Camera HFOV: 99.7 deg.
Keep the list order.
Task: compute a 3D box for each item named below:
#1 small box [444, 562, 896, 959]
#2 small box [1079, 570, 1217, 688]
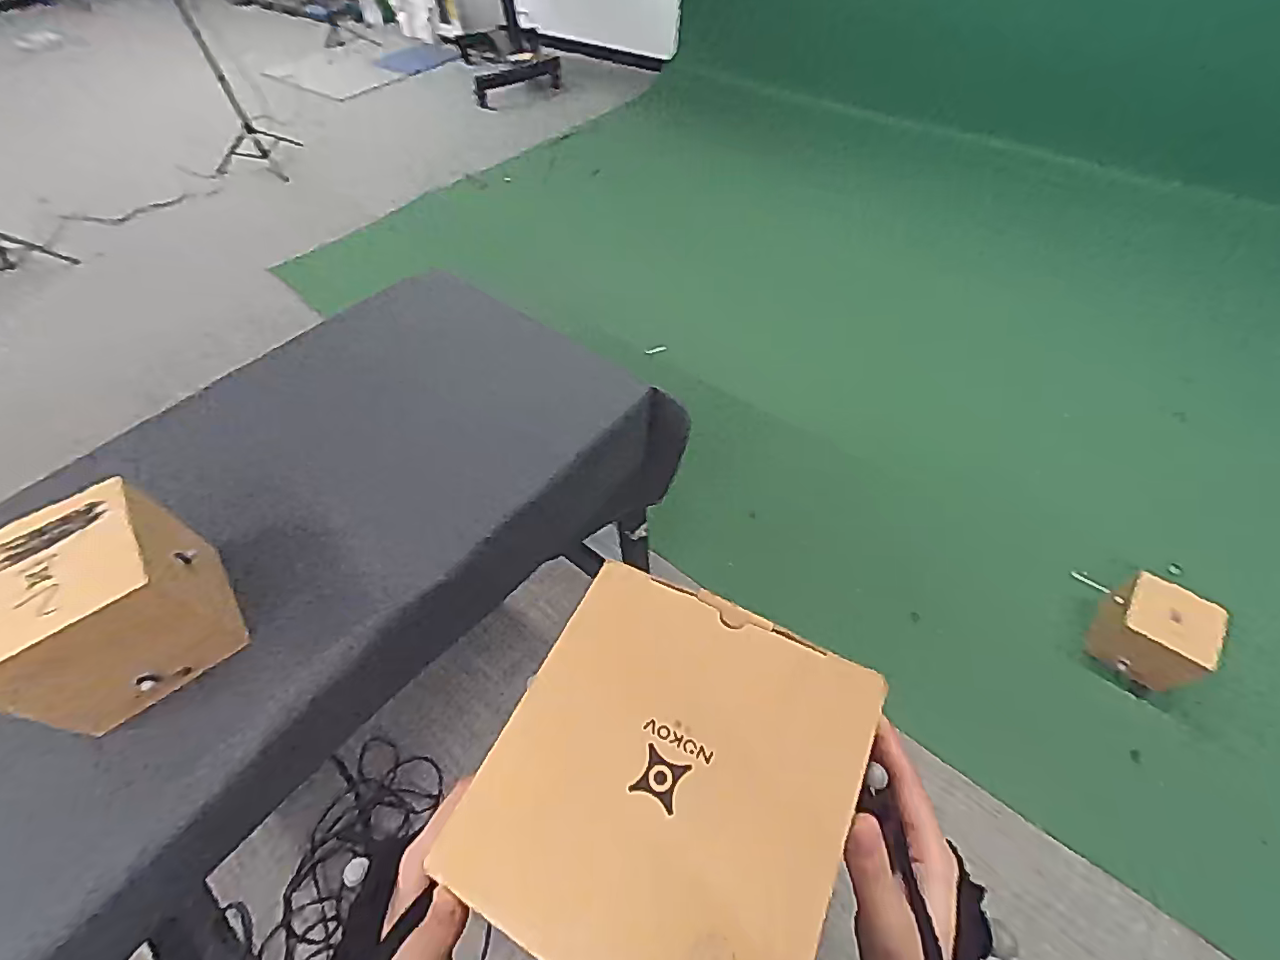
[{"bbox_3d":[0.029,0.185,0.322,0.168,0.176,0.179,20,59,21],"label":"small box"},{"bbox_3d":[1.183,0.352,1.271,0.168,0.176,0.179,31,61,24],"label":"small box"}]
